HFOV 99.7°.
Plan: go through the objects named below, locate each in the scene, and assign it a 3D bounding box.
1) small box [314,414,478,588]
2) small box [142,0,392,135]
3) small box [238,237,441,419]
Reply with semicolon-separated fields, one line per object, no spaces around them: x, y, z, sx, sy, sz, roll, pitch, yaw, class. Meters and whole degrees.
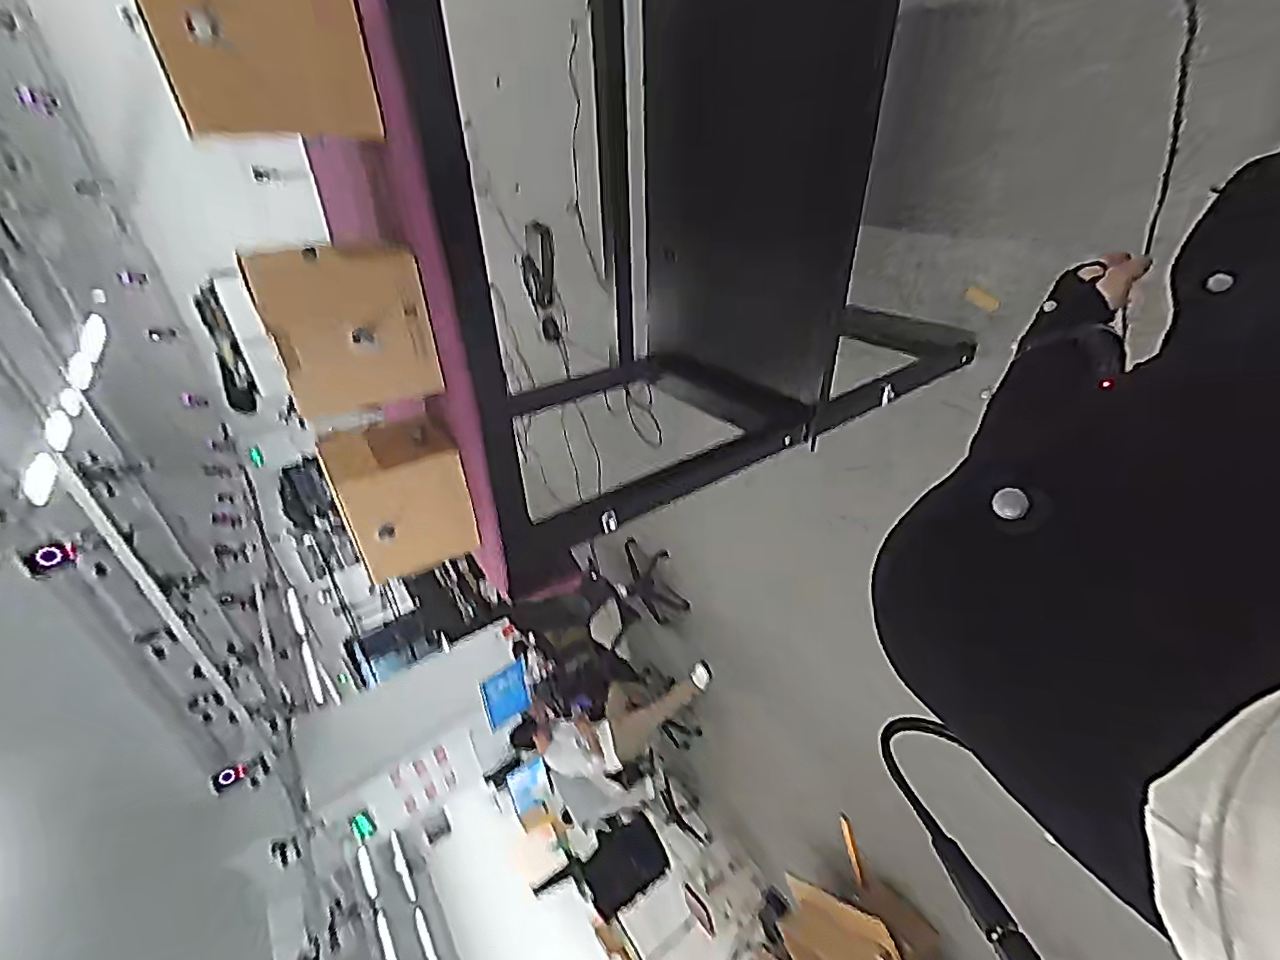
-0.356;0.022;0.810;0.168;0.176;0.179;34;135;44;small box
-0.363;-0.437;0.518;0.168;0.176;0.179;38;140;44;small box
-0.360;-0.199;0.669;0.179;0.176;0.168;36;137;44;small box
